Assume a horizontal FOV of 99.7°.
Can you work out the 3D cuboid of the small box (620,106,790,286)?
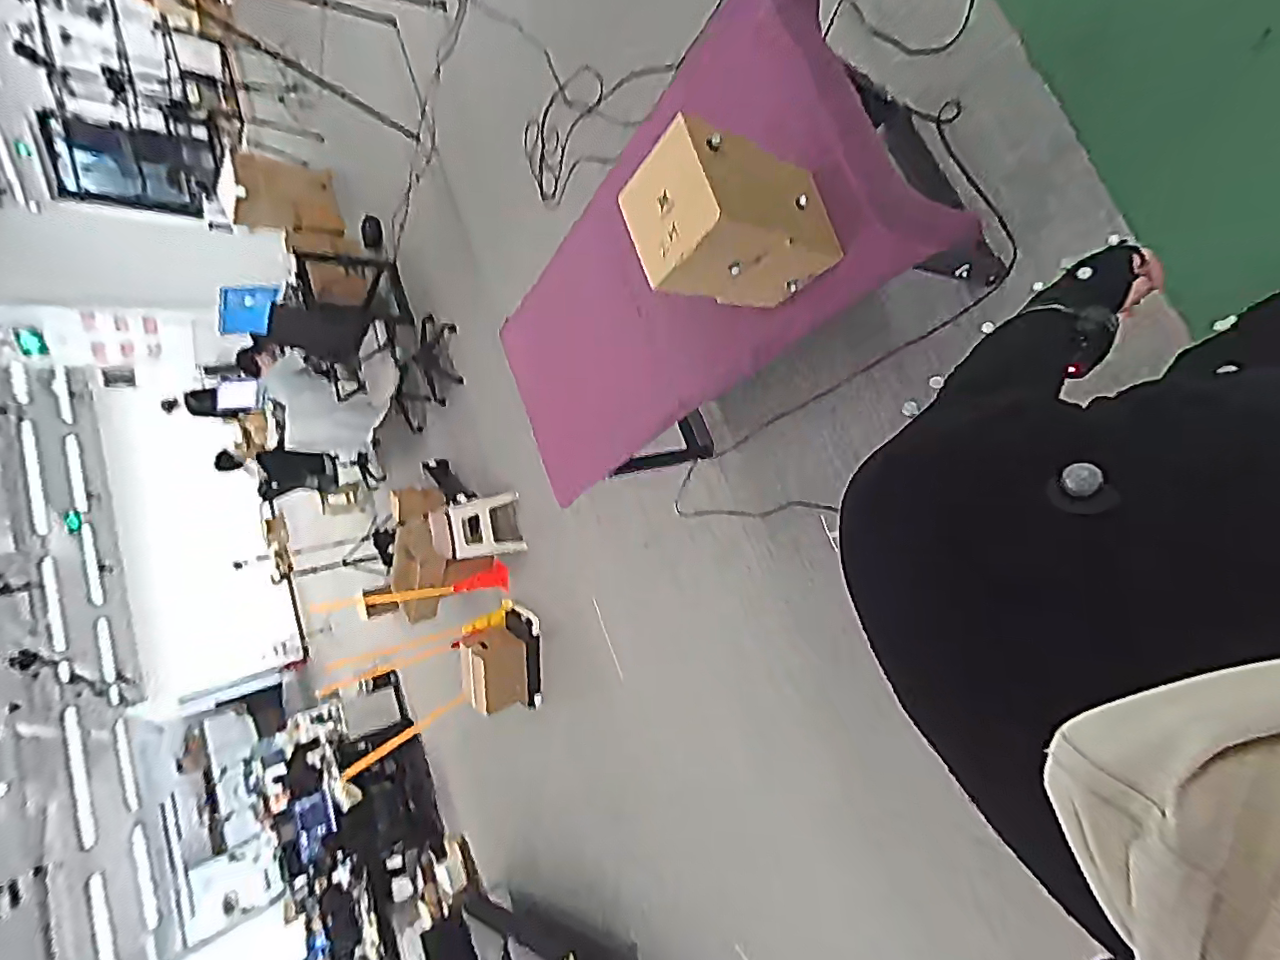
[{"bbox_3d":[0.101,-0.428,0.848,0.168,0.176,0.179,-30,76,49],"label":"small box"}]
